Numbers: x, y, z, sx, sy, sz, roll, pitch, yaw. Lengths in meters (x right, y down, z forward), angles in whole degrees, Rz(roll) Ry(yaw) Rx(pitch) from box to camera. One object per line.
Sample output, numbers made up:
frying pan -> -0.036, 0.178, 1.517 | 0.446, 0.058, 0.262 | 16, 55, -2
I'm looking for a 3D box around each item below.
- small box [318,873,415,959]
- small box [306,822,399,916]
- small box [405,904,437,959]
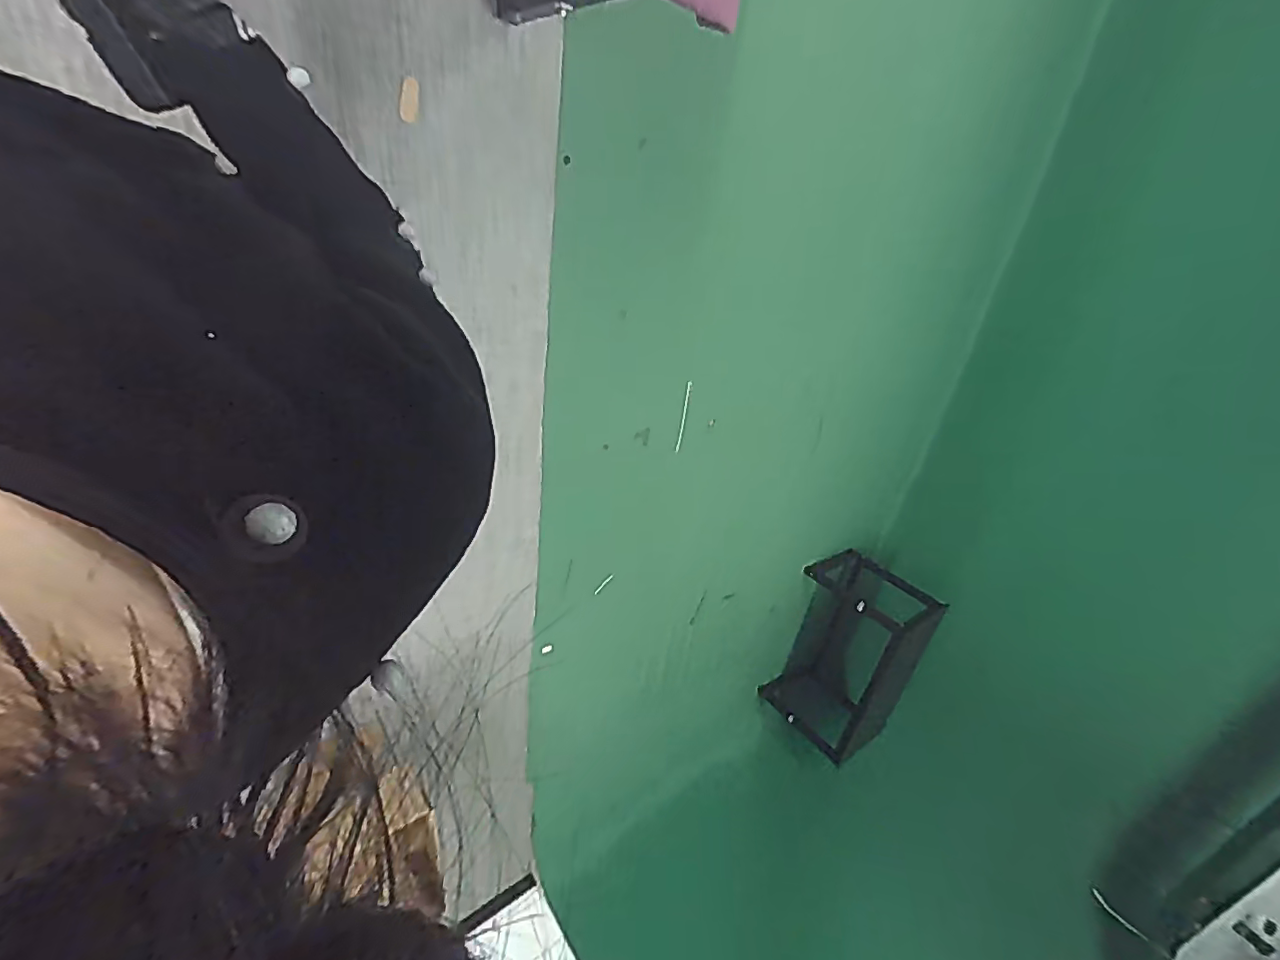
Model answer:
small box -> -0.720, 1.191, 1.427 | 0.168, 0.176, 0.179 | -27, 133, -26
small box -> -0.819, 1.121, 1.537 | 0.168, 0.176, 0.179 | -27, 132, -27
small box -> -0.706, 1.412, 1.583 | 0.179, 0.176, 0.168 | -21, 128, -34
